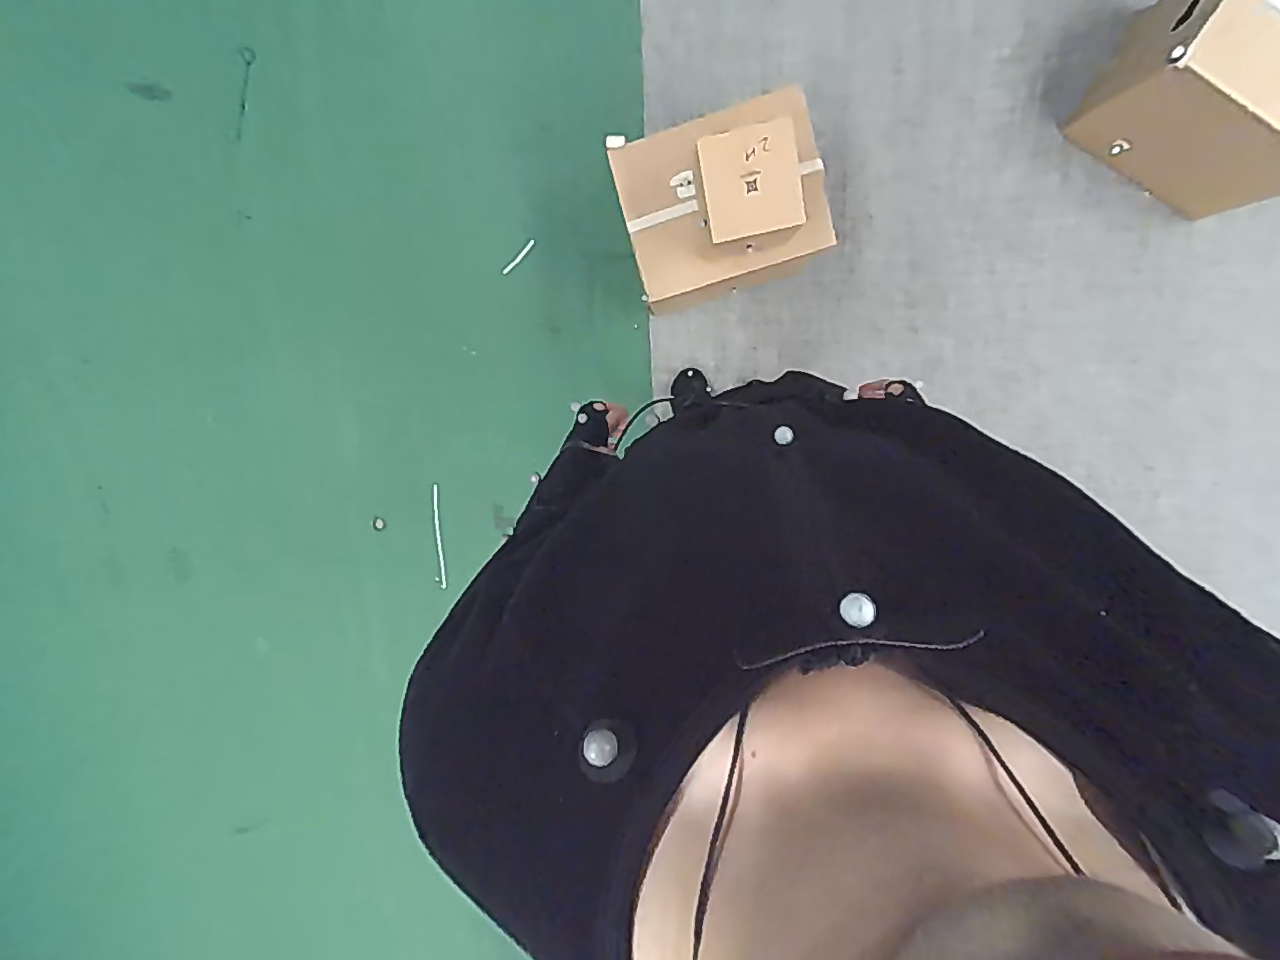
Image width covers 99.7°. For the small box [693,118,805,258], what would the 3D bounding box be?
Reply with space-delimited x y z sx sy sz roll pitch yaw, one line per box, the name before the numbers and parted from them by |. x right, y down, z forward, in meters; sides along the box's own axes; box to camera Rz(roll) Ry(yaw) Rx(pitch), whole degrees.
small box | 0.194 -0.522 1.000 0.168 0.176 0.179 -10 100 4

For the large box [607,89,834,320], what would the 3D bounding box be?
large box | 0.176 -0.590 1.240 0.408 0.320 0.320 -16 98 7
